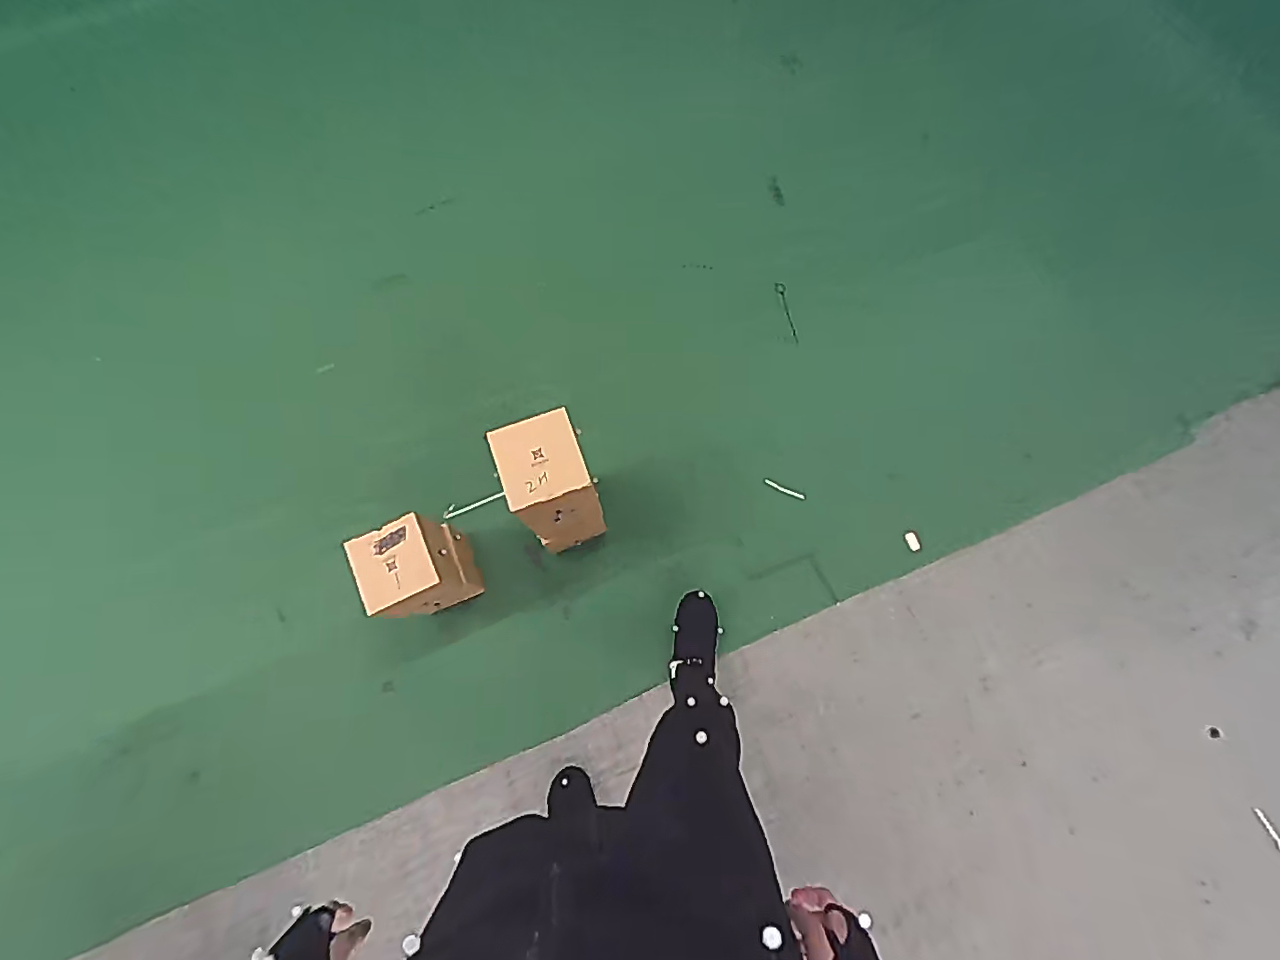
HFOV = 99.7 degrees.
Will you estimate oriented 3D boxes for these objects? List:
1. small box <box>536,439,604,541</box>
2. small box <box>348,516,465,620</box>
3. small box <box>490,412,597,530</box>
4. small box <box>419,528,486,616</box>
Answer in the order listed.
[{"bbox_3d":[-0.192,0.028,1.291,0.168,0.176,0.179,-20,74,-4],"label":"small box"},{"bbox_3d":[-0.530,0.209,1.247,0.168,0.176,0.179,-25,75,-5],"label":"small box"},{"bbox_3d":[-0.195,-0.013,1.132,0.168,0.176,0.179,-19,75,-5],"label":"small box"},{"bbox_3d":[-0.522,0.246,1.407,0.168,0.176,0.179,-22,74,-5],"label":"small box"}]
